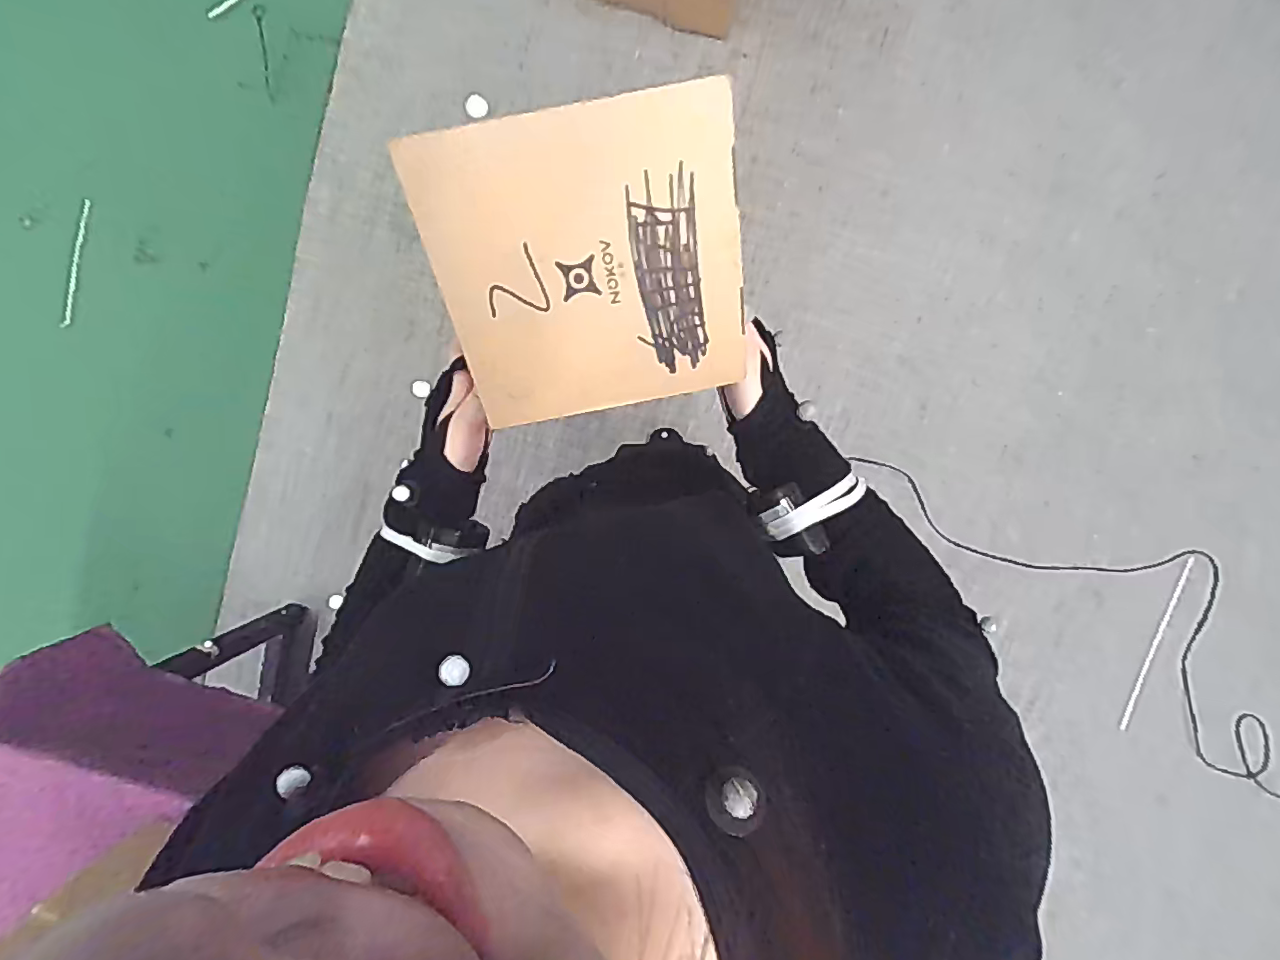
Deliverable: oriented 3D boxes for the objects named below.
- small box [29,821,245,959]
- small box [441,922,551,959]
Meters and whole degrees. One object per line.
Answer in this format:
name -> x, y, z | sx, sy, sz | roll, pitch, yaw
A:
small box -> -0.733, 0.647, 0.795 | 0.179, 0.176, 0.168 | 16, 96, 4
small box -> -0.233, 0.794, 0.764 | 0.168, 0.176, 0.179 | 16, 96, 4
